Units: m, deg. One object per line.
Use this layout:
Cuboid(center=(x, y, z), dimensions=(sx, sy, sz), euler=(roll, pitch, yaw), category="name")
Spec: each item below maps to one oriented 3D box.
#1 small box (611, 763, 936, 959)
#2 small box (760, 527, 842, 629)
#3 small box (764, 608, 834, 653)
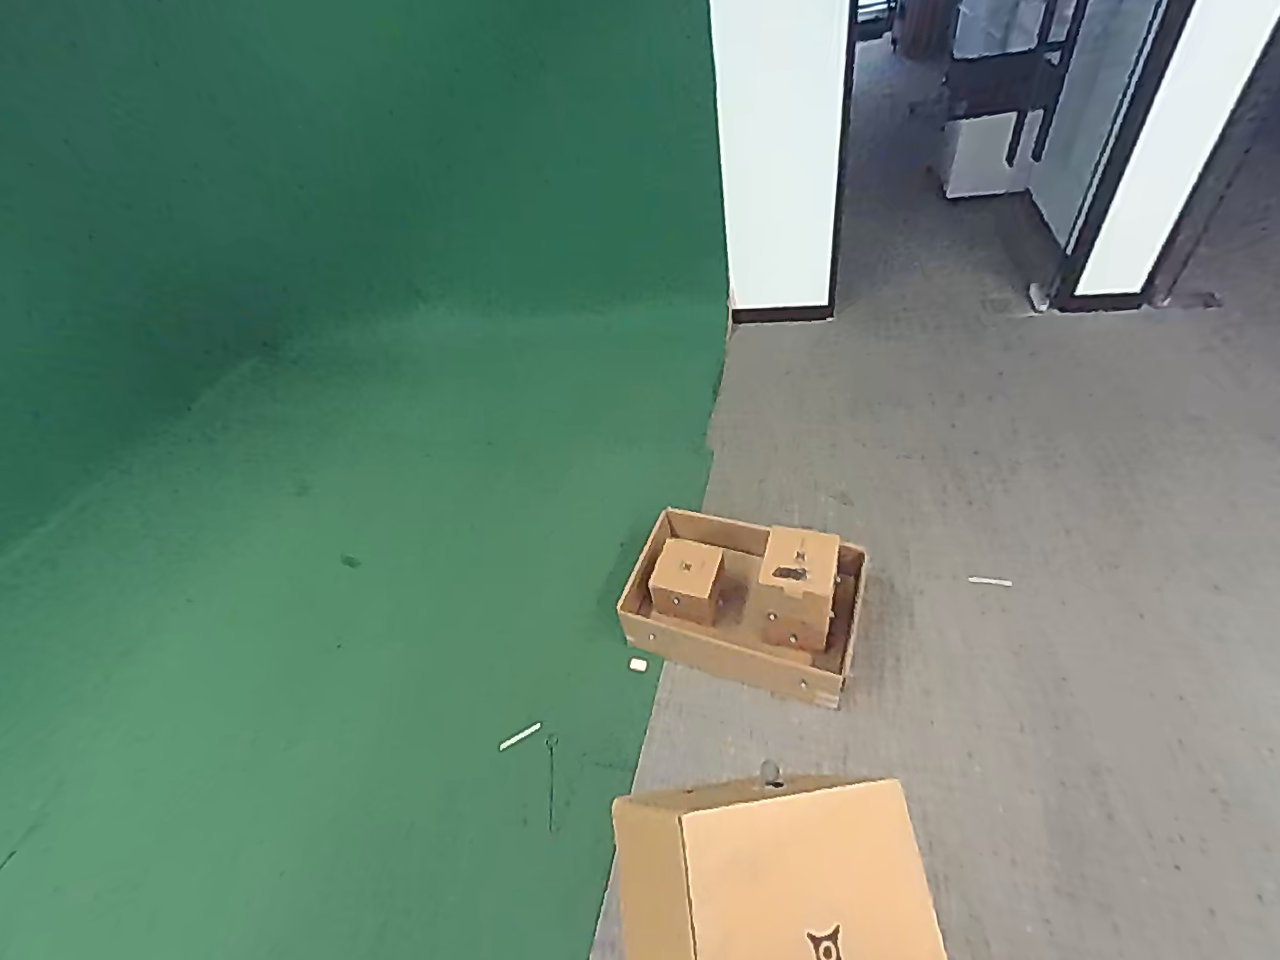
Cuboid(center=(0.080, 0.310, 0.390), dimensions=(0.168, 0.176, 0.179), euler=(2, 65, -17), category="small box")
Cuboid(center=(0.402, 0.243, 1.336), dimensions=(0.168, 0.176, 0.179), euler=(7, 49, 23), category="small box")
Cuboid(center=(0.438, 0.343, 1.461), dimensions=(0.168, 0.176, 0.179), euler=(6, 50, 21), category="small box")
